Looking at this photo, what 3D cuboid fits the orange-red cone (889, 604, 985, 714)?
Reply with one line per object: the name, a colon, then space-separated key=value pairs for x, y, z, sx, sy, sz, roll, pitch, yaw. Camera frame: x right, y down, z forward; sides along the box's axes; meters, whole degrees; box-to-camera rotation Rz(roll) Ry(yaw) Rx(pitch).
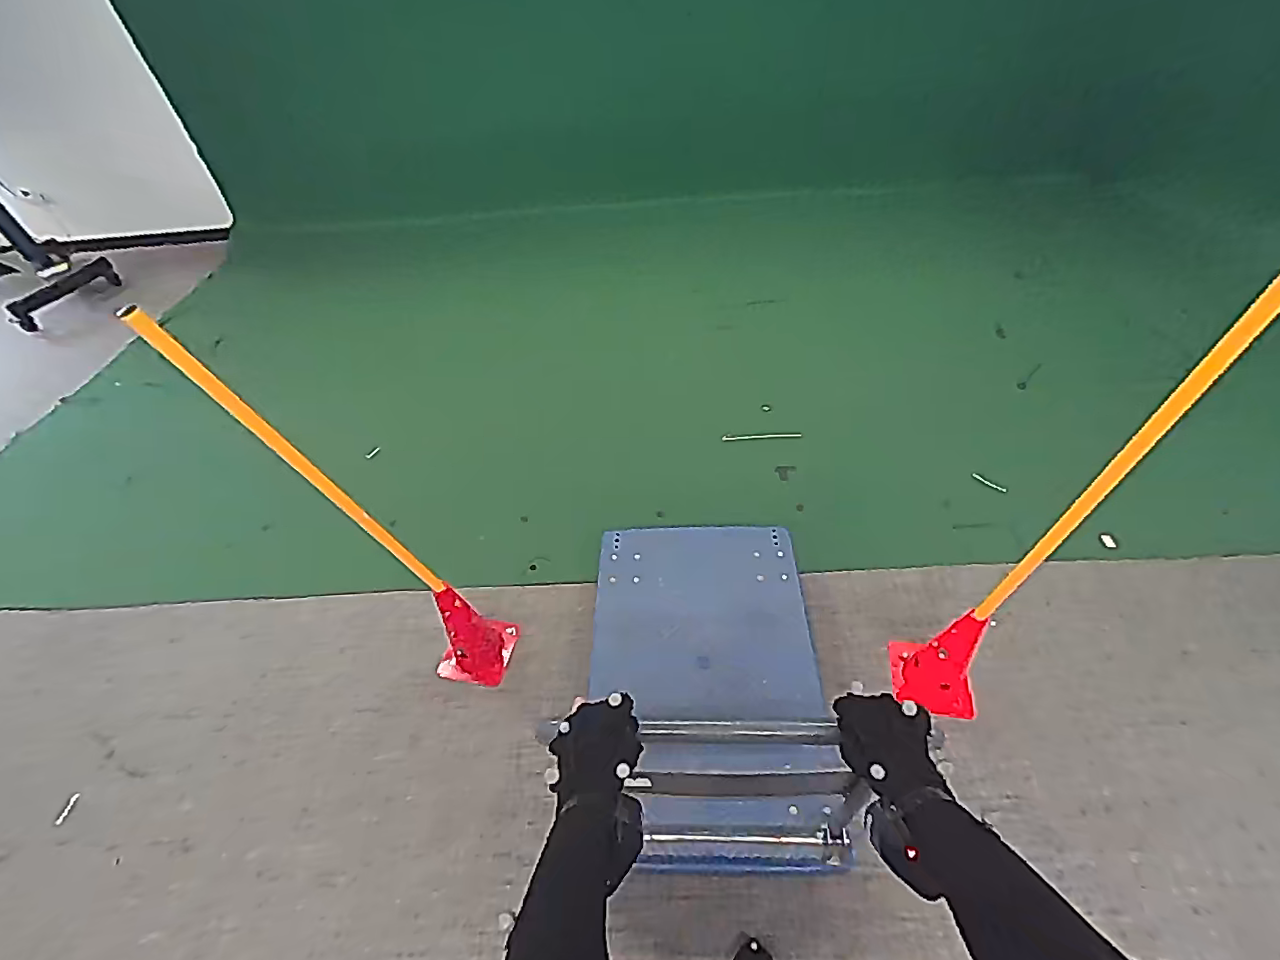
orange-red cone: x=0.783 y=0.420 z=1.363 sx=0.198 sy=0.360 sz=0.199 roll=5 pitch=49 yaw=10
